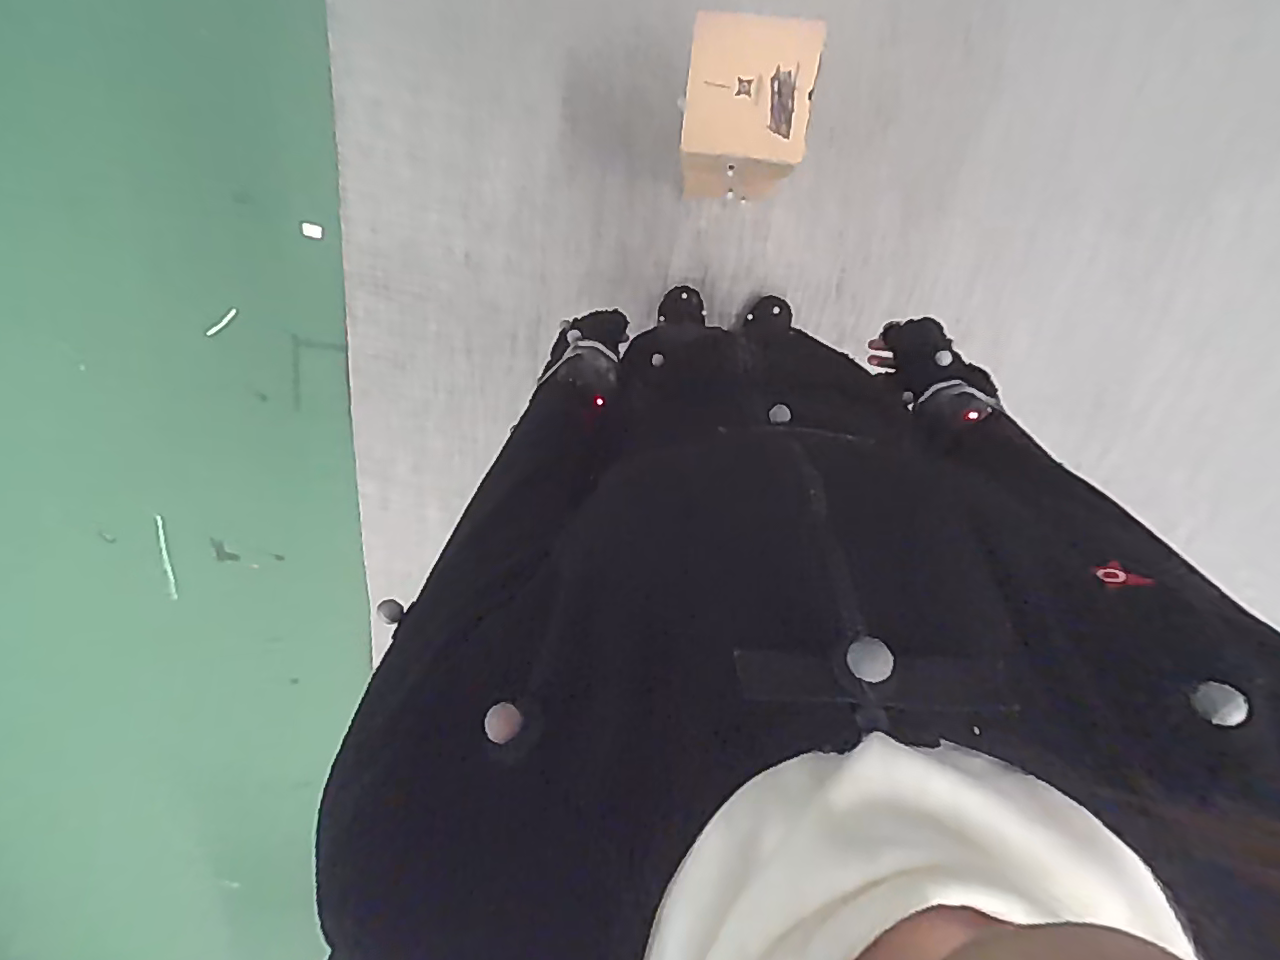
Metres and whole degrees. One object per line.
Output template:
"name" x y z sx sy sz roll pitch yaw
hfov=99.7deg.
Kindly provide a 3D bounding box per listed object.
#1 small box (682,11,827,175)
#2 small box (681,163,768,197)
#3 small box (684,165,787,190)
"small box" 0.158 -0.566 0.813 0.179 0.176 0.168 5 113 2
"small box" 0.186 -0.691 1.116 0.179 0.176 0.168 8 112 4
"small box" 0.176 -0.626 0.966 0.179 0.176 0.168 8 112 2
